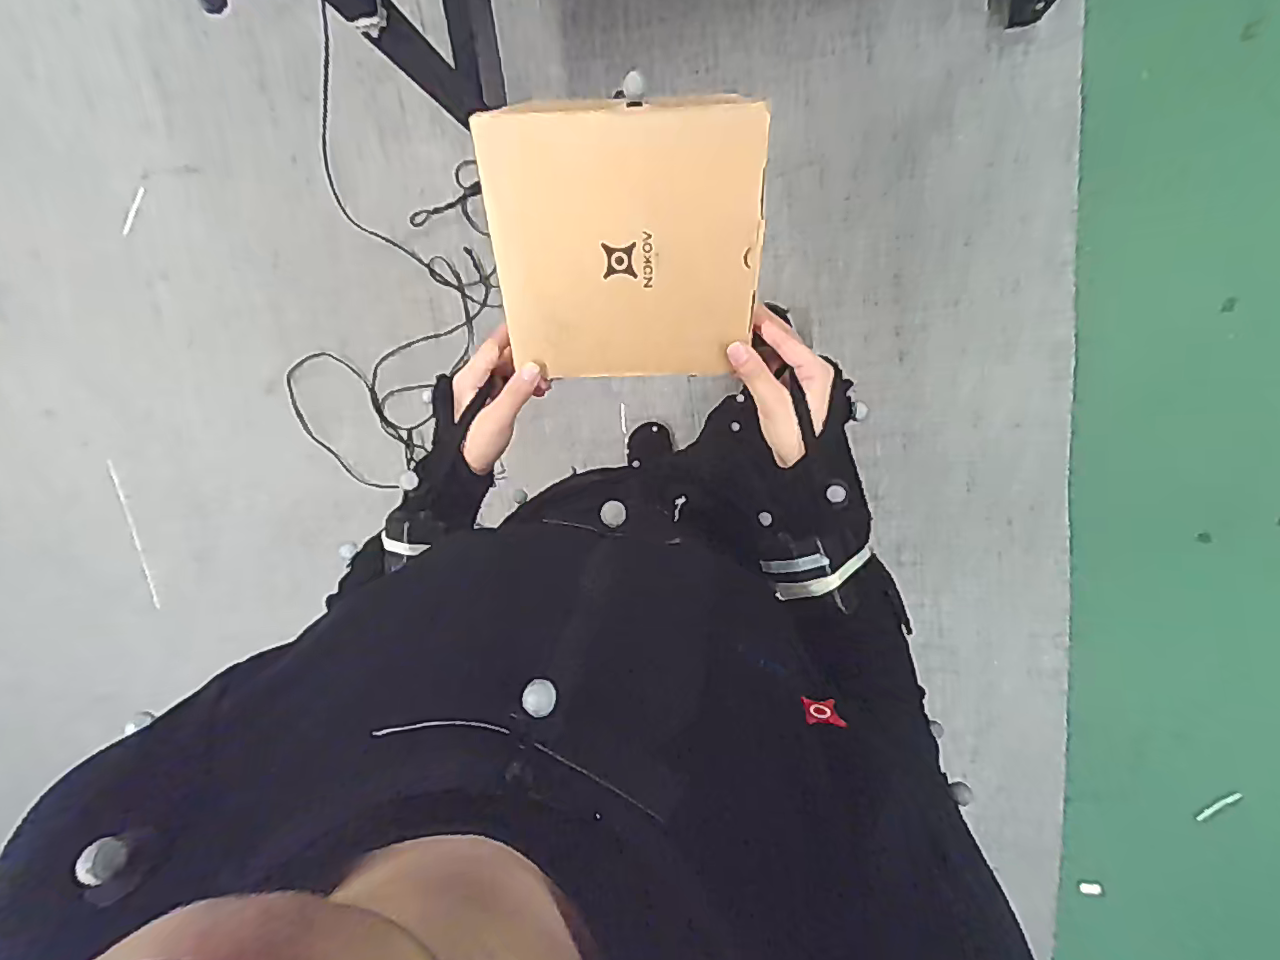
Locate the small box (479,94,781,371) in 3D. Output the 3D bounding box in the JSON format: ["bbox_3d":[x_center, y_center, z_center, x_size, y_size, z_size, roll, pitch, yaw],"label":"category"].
[{"bbox_3d":[-0.003,-0.195,0.418,0.179,0.176,0.168,-1,126,1],"label":"small box"}]
